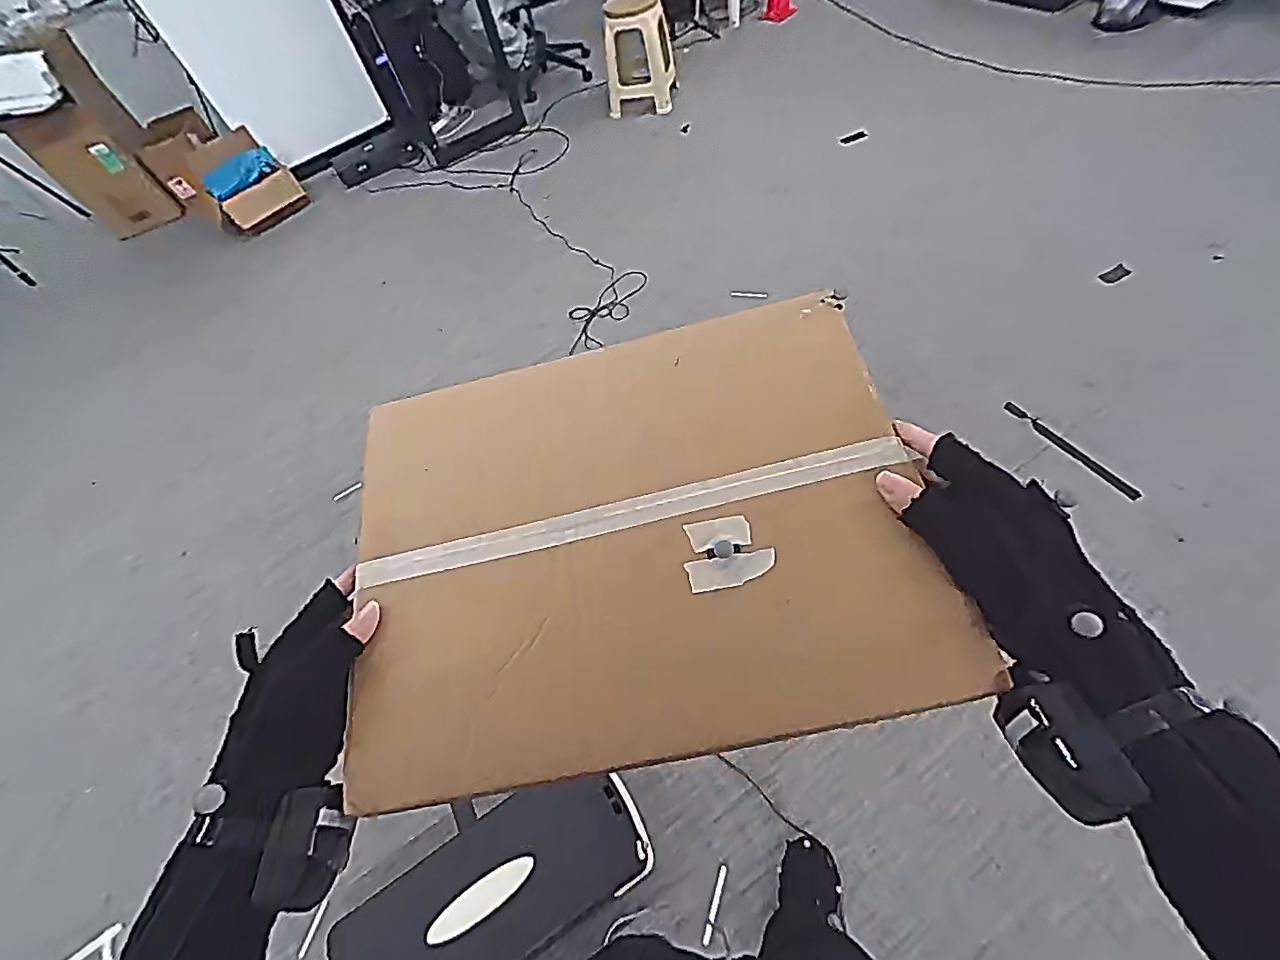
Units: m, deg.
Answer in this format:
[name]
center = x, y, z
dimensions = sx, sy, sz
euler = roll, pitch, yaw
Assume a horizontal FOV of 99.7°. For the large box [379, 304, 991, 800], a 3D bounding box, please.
[large box]
center = 0.019, 0.093, 0.536
dimensions = 0.408, 0.320, 0.320
euler = -13, 63, 4
